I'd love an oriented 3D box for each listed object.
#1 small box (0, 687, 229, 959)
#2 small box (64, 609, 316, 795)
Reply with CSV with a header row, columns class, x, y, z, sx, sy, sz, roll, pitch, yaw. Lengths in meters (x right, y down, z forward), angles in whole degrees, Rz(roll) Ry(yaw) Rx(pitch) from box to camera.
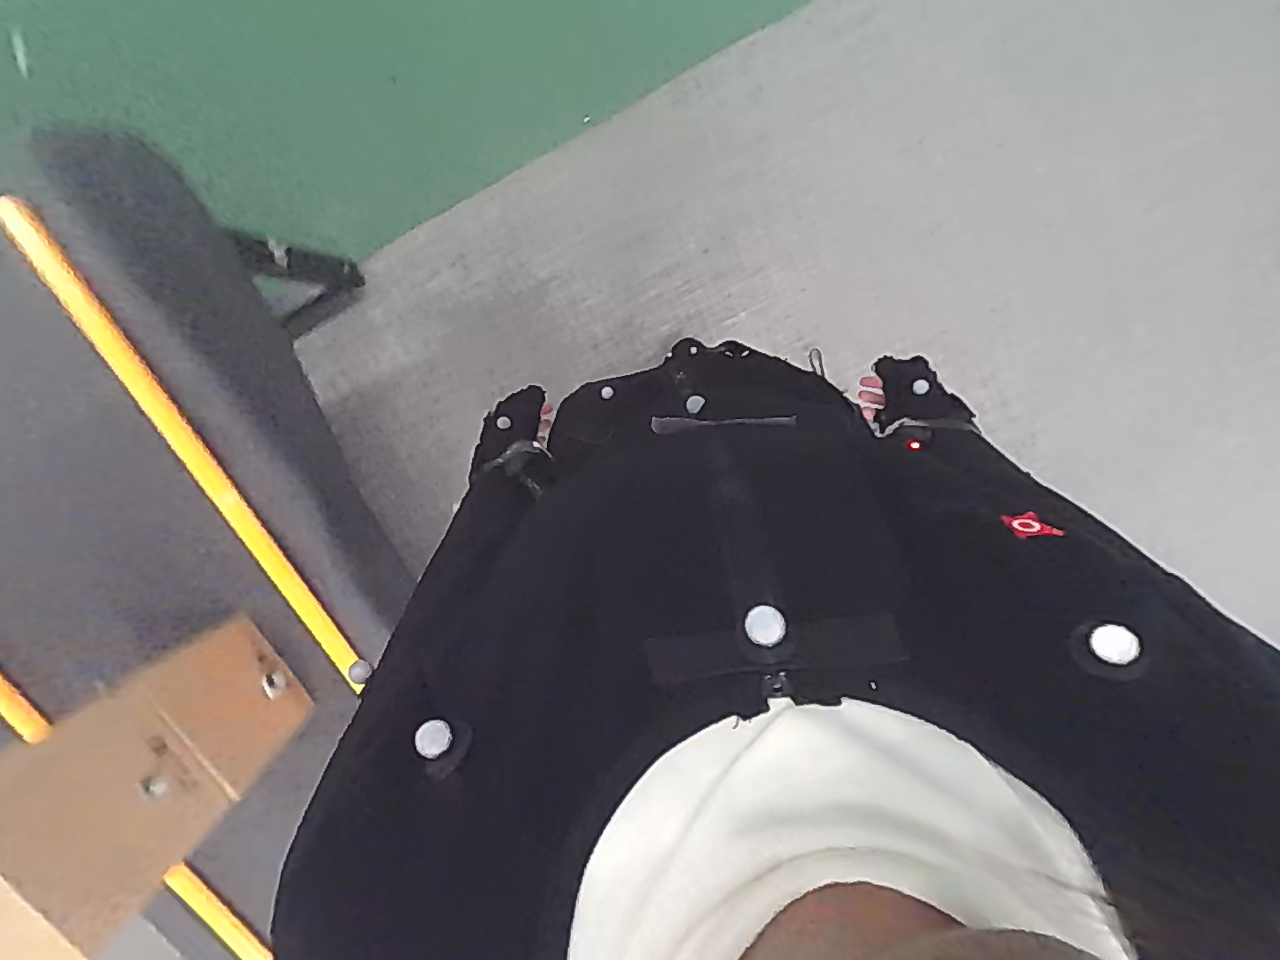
class,x,y,z,sx,sy,sz,roll,pitch,yaw
small box,-0.569,0.341,0.527,0.179,0.176,0.168,-24,105,5
small box,-0.565,0.298,0.686,0.179,0.176,0.168,-29,104,6
